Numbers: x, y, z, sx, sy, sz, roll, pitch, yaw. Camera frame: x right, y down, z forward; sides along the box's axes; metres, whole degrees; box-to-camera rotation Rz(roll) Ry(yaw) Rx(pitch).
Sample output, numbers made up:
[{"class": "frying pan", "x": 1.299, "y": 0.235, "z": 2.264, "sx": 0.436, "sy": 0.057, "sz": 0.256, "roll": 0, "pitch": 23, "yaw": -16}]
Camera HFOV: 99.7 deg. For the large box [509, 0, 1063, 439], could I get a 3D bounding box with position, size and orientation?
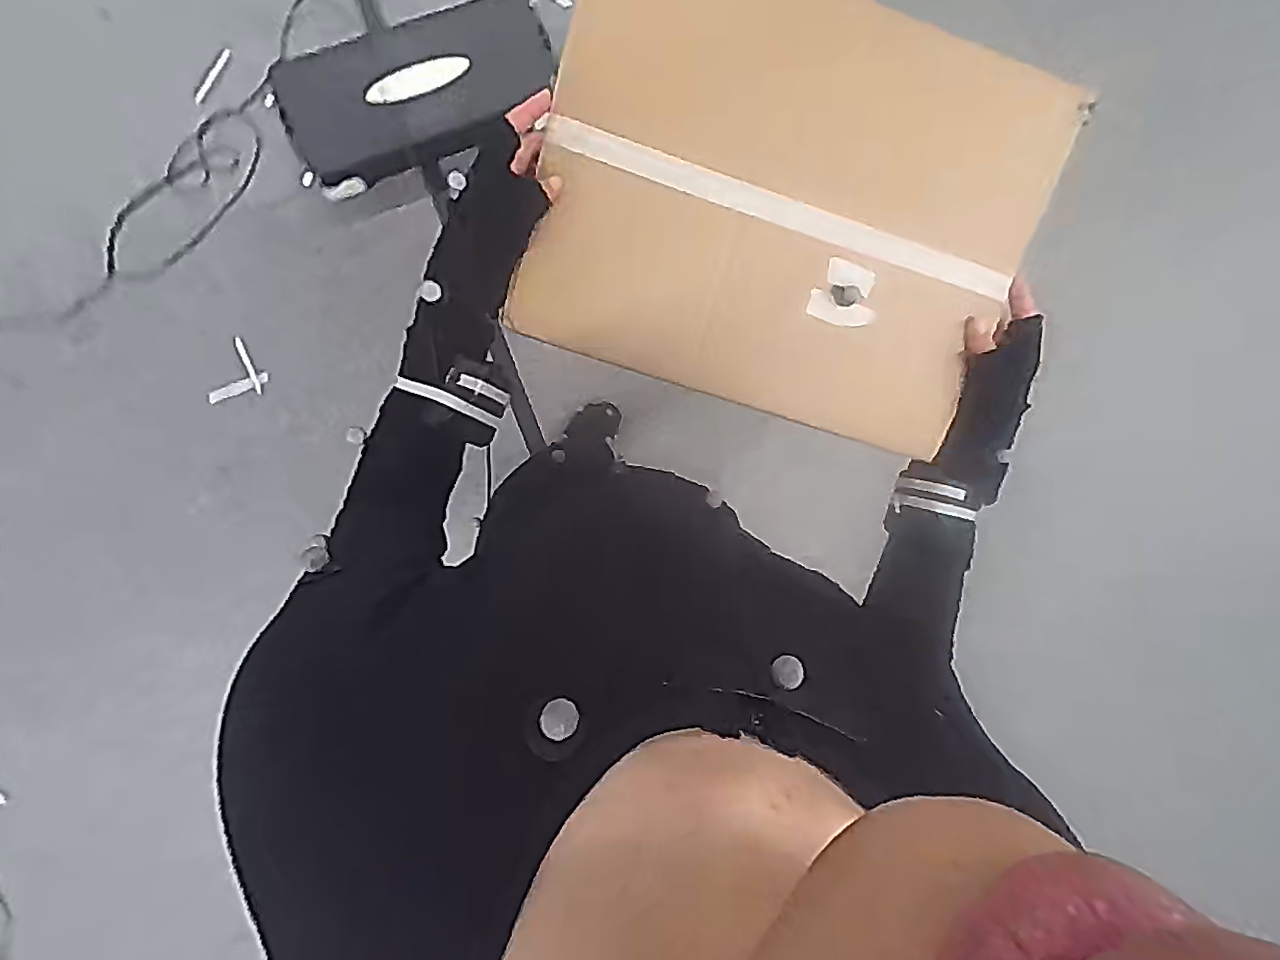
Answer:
[{"class": "large box", "x": 0.105, "y": -0.261, "z": 0.591, "sx": 0.408, "sy": 0.320, "sz": 0.320, "roll": 15, "pitch": 104, "yaw": -7}]
